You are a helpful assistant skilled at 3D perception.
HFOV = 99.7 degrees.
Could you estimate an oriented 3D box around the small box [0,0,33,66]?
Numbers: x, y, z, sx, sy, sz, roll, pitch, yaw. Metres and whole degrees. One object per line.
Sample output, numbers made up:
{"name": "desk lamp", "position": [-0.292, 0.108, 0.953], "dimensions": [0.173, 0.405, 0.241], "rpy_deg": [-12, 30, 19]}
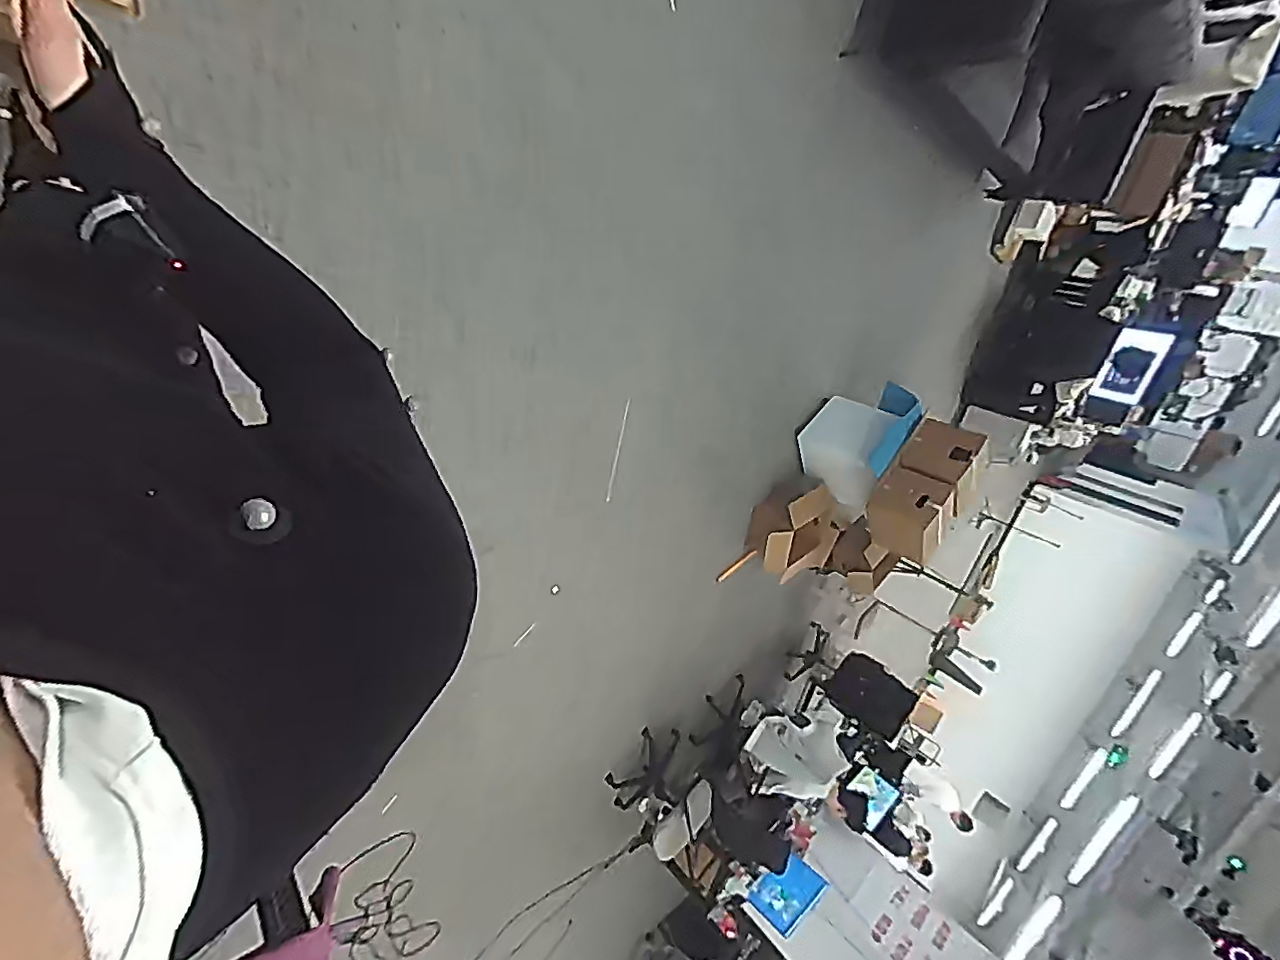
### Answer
{"name": "small box", "position": [-0.577, -0.440, 0.394], "dimensions": [0.179, 0.176, 0.168], "rpy_deg": [-2, 109, -47]}
